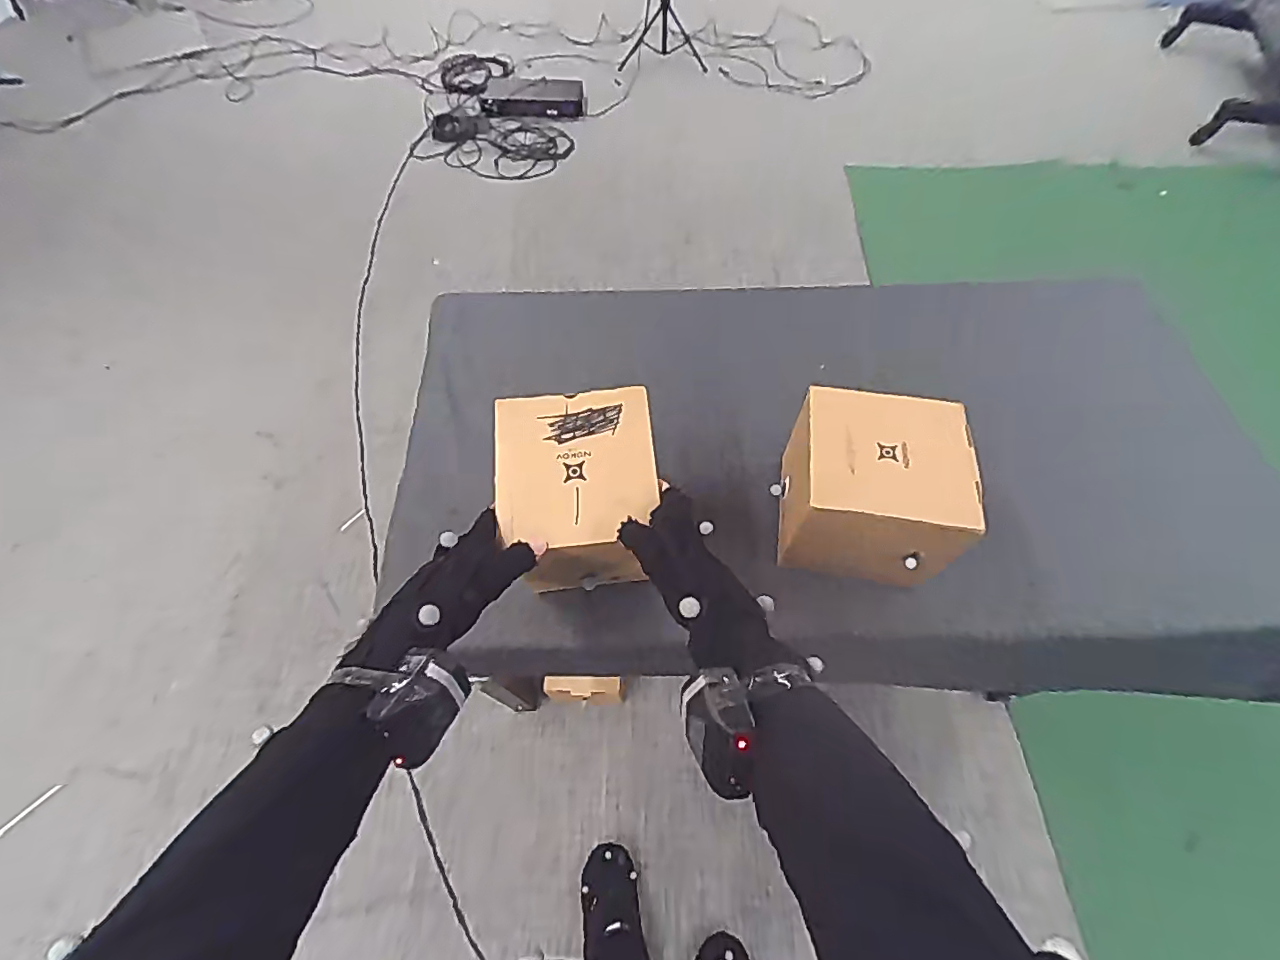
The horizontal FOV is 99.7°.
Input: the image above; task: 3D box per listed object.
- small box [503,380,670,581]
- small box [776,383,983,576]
[{"bbox_3d":[-0.058,0.008,0.632,0.168,0.176,0.179,-6,67,-1],"label":"small box"},{"bbox_3d":[0.273,0.006,0.659,0.179,0.176,0.168,7,59,5],"label":"small box"}]
